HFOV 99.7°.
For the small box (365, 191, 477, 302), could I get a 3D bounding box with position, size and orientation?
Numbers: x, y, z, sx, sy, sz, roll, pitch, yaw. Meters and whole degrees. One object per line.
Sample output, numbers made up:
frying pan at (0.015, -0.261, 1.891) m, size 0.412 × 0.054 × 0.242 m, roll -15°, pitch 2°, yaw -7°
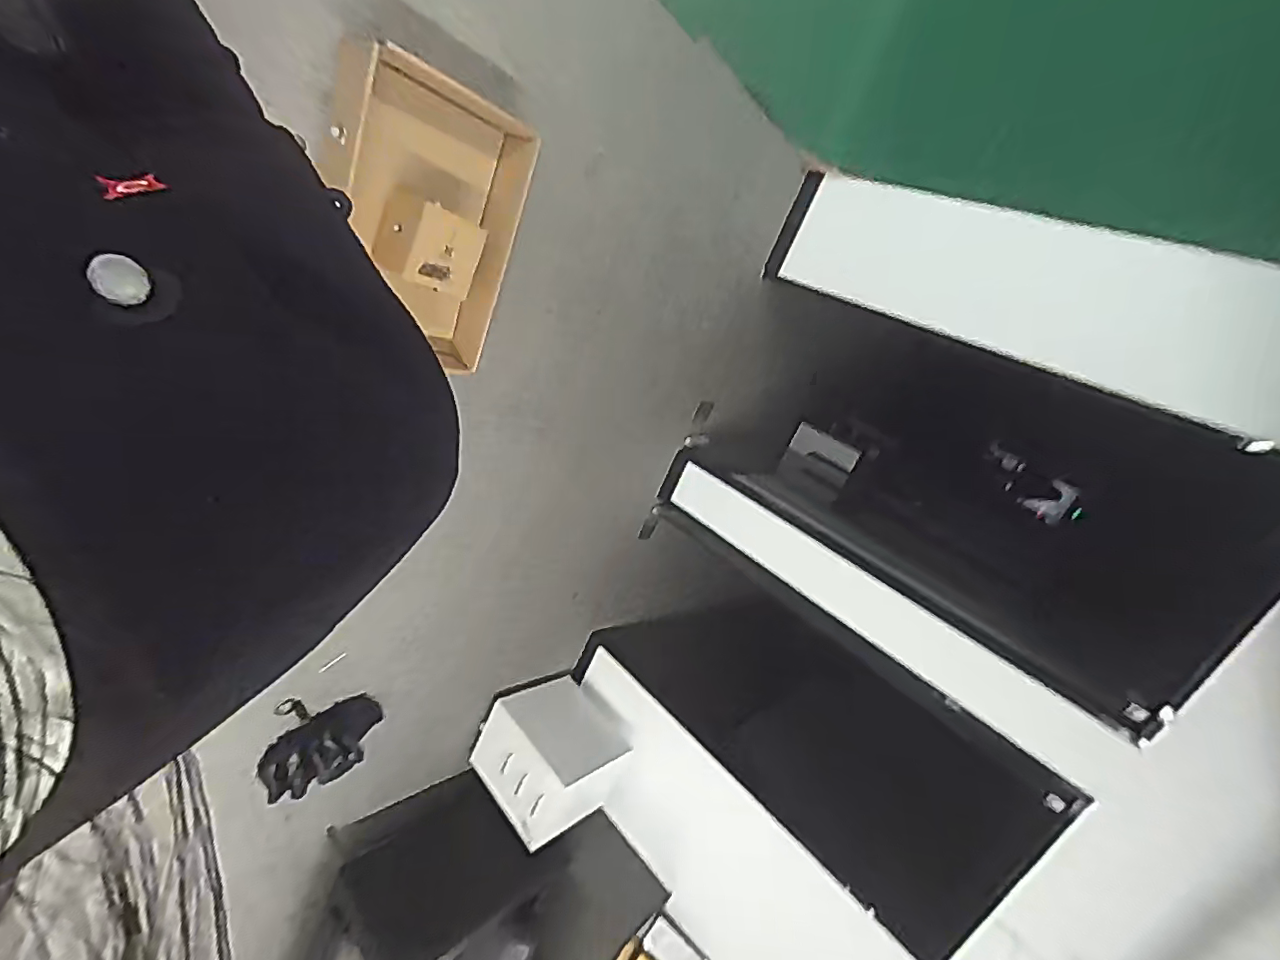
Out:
small box at (-0.528, -0.556, 1.292) m, size 0.168 × 0.176 × 0.179 m, roll 7°, pitch 111°, yaw -56°
